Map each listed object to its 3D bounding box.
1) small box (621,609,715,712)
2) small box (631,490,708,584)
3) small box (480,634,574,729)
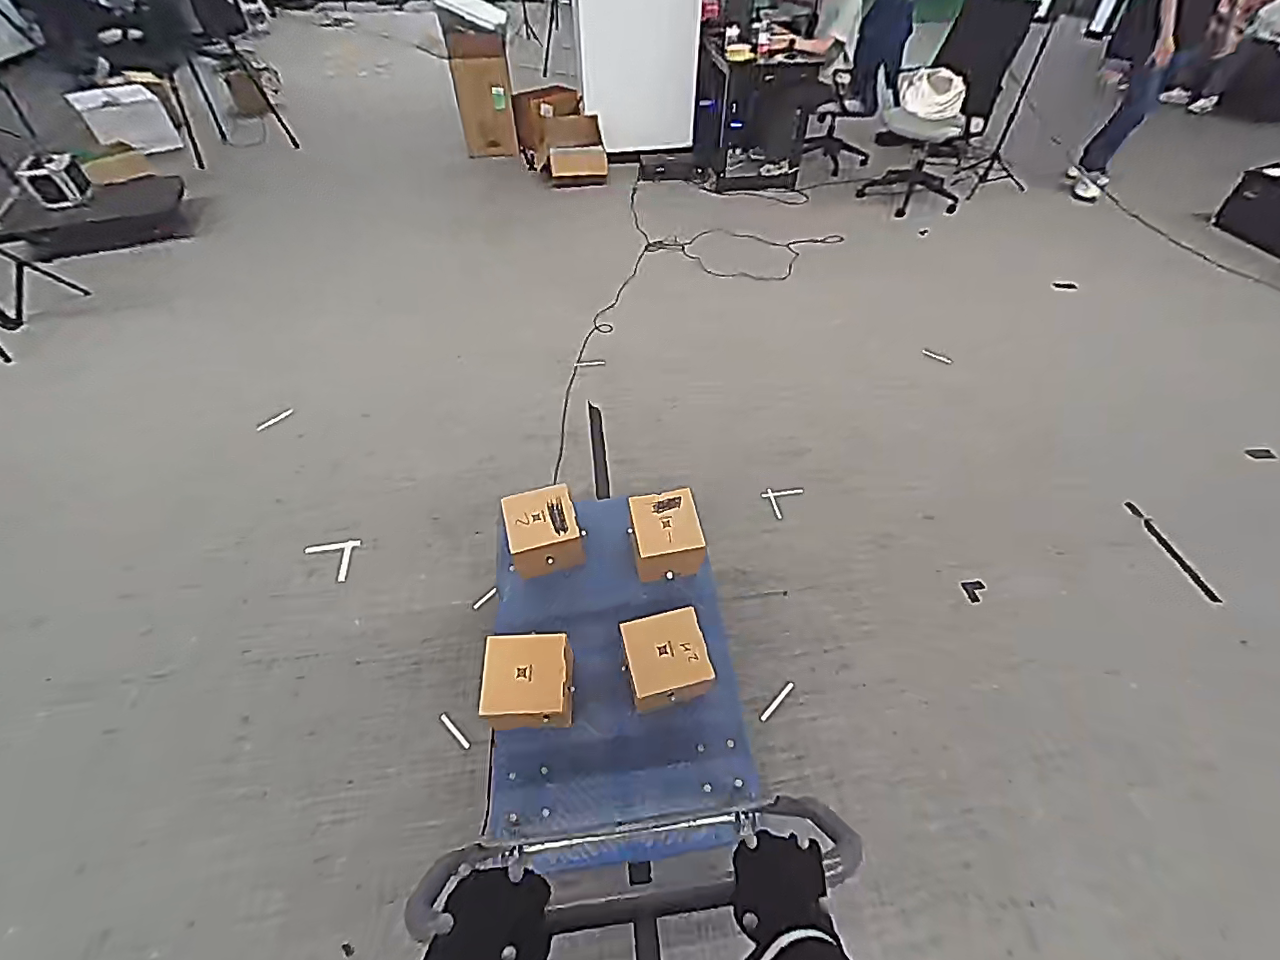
[{"bbox_3d":[0.060,0.419,1.243,0.179,0.176,0.168,-11,57,-8],"label":"small box"},{"bbox_3d":[0.070,0.153,1.423,0.168,0.176,0.179,-9,57,-6],"label":"small box"},{"bbox_3d":[-0.245,0.457,1.217,0.179,0.176,0.168,-1,56,-3],"label":"small box"}]
